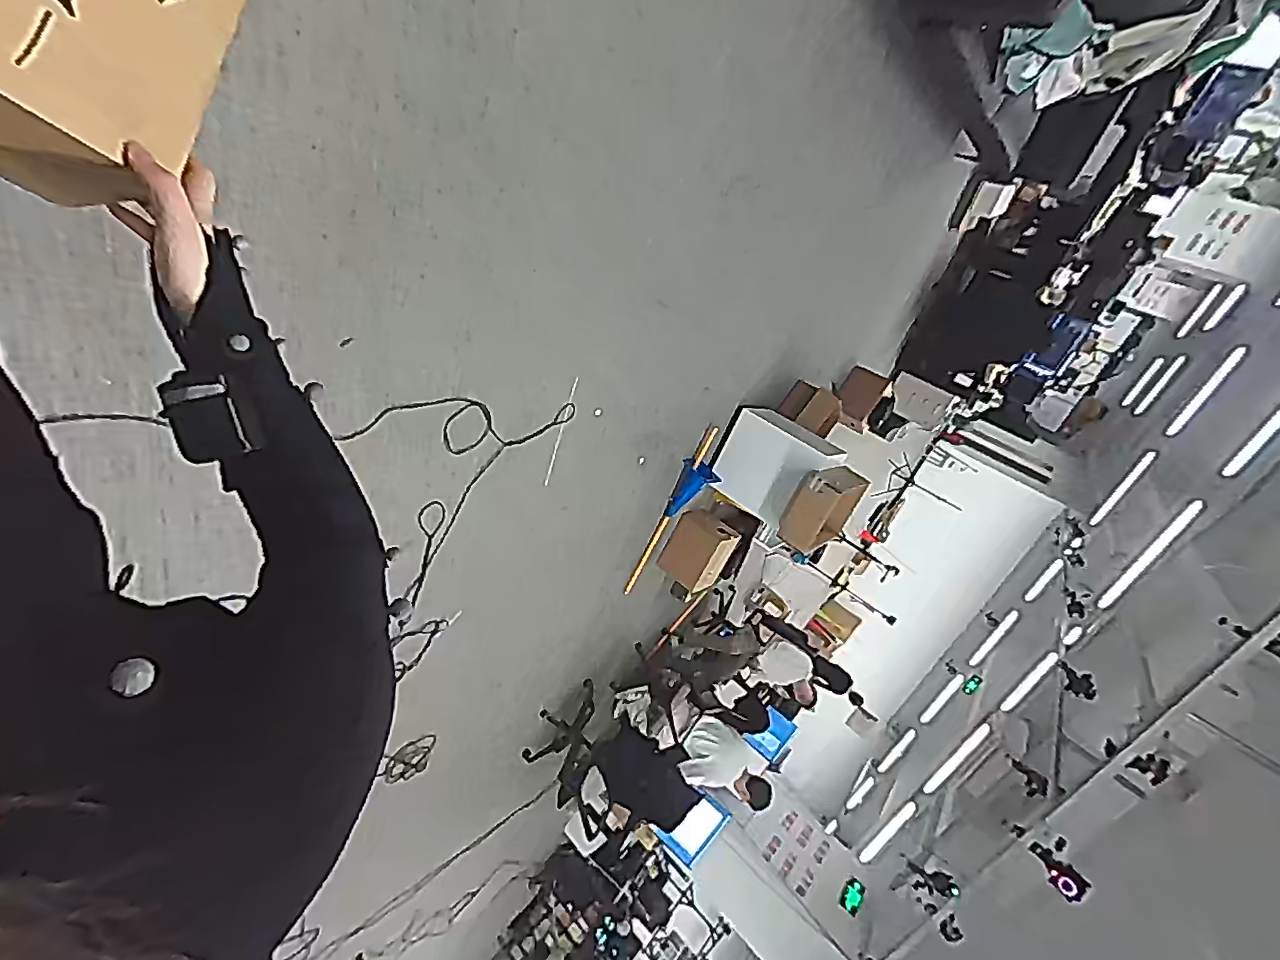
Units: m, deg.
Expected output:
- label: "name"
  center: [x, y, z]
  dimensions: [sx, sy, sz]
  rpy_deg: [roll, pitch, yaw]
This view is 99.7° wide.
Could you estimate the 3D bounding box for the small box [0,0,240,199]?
- label: "small box"
  center: [-0.425, -0.320, 0.362]
  dimensions: [0.168, 0.176, 0.179]
  rpy_deg: [29, 73, -65]
